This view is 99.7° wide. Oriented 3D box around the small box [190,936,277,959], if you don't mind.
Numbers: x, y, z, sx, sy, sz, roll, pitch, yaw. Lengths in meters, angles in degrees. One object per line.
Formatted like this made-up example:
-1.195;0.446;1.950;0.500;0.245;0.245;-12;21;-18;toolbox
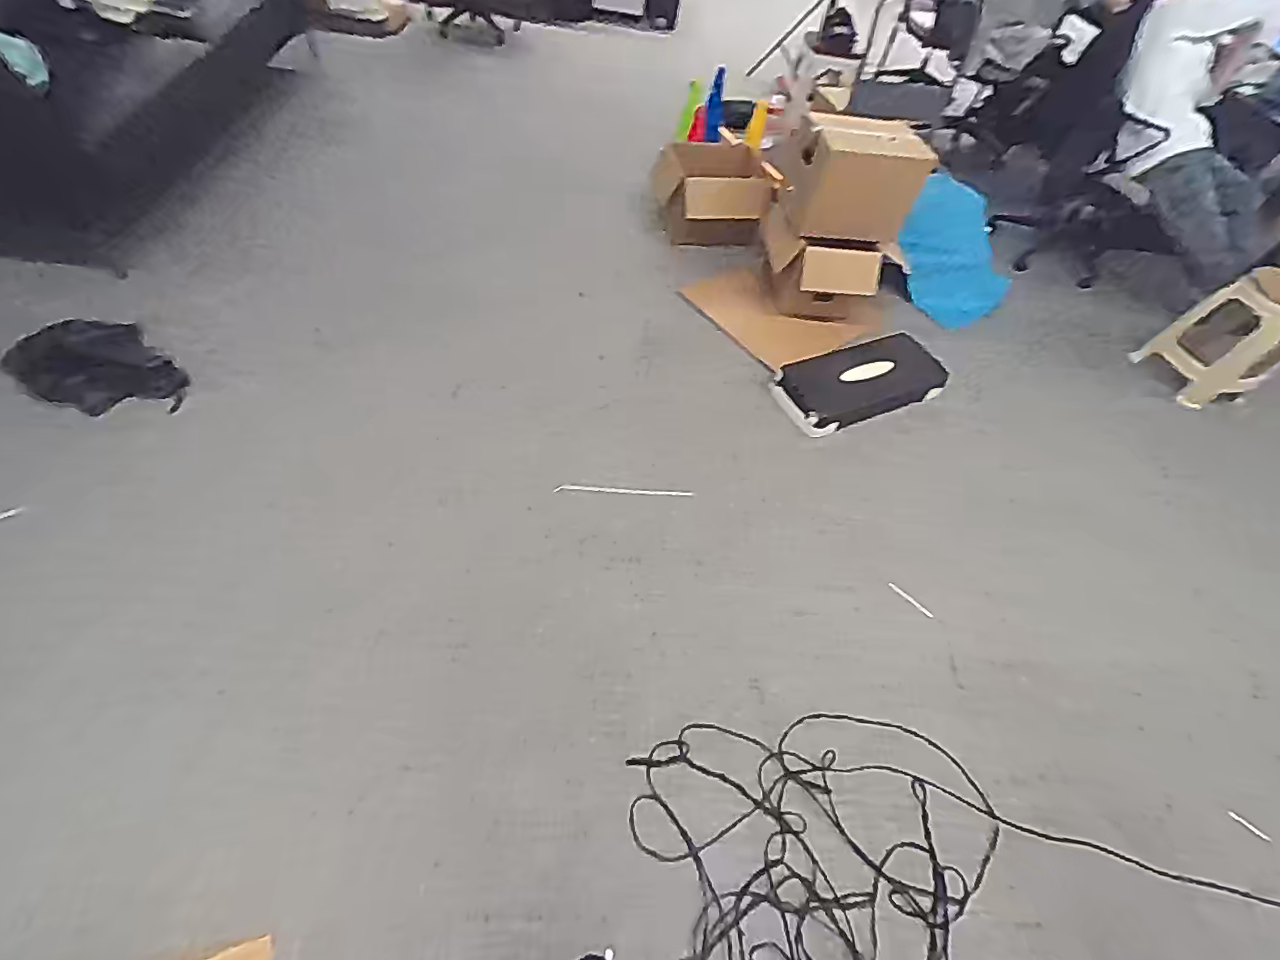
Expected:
-0.472;0.578;0.514;0.176;0.179;0.168;15;47;-52;small box
